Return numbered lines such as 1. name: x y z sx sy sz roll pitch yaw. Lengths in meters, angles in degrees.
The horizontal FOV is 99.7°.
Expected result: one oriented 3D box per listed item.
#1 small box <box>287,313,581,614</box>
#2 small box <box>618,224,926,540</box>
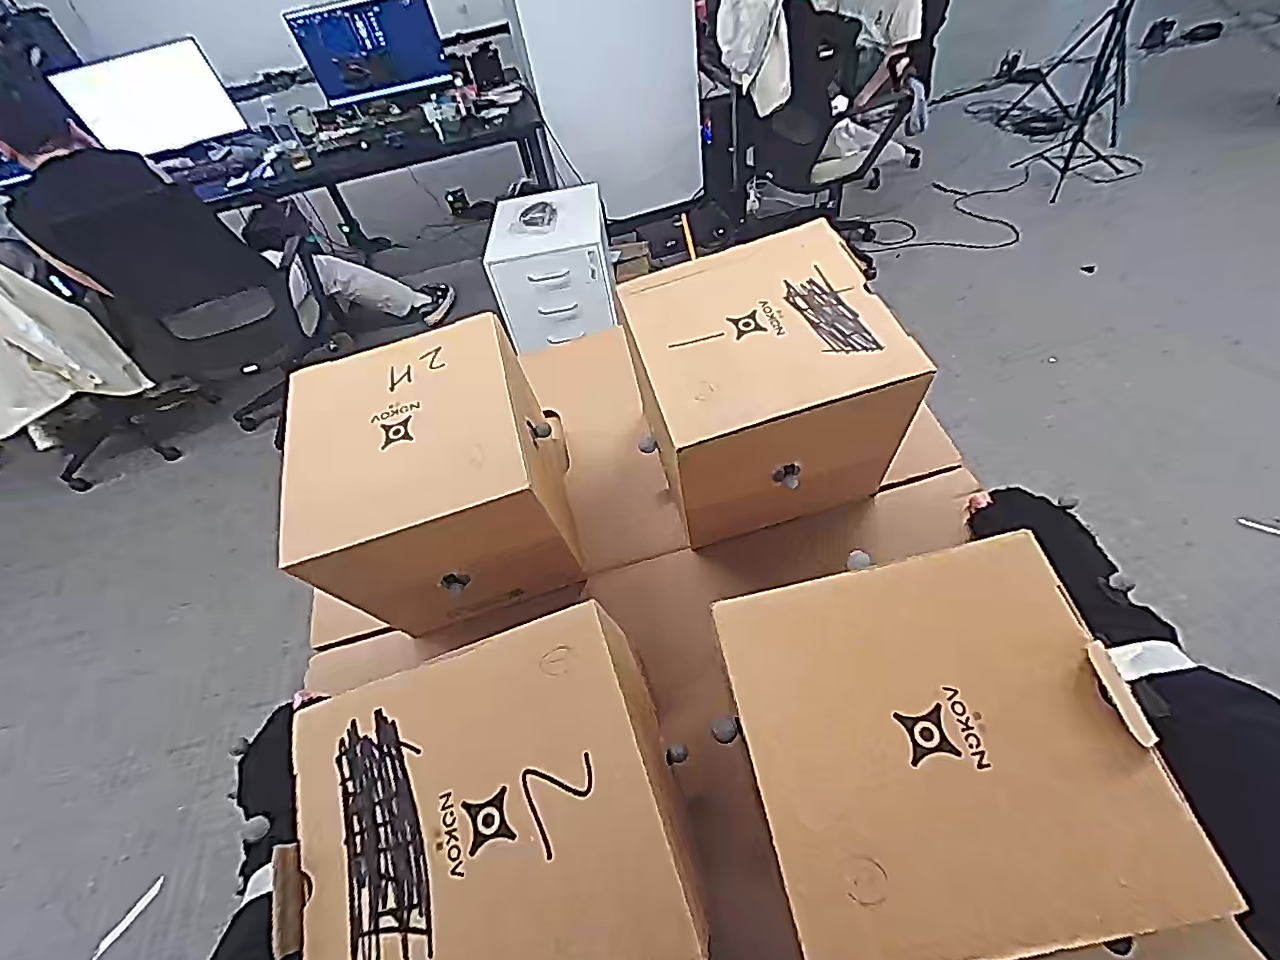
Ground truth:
1. small box: -0.158 -0.001 0.457 0.168 0.176 0.179 -17 59 -1
2. small box: 0.095 -0.071 0.454 0.179 0.176 0.168 -17 59 1
